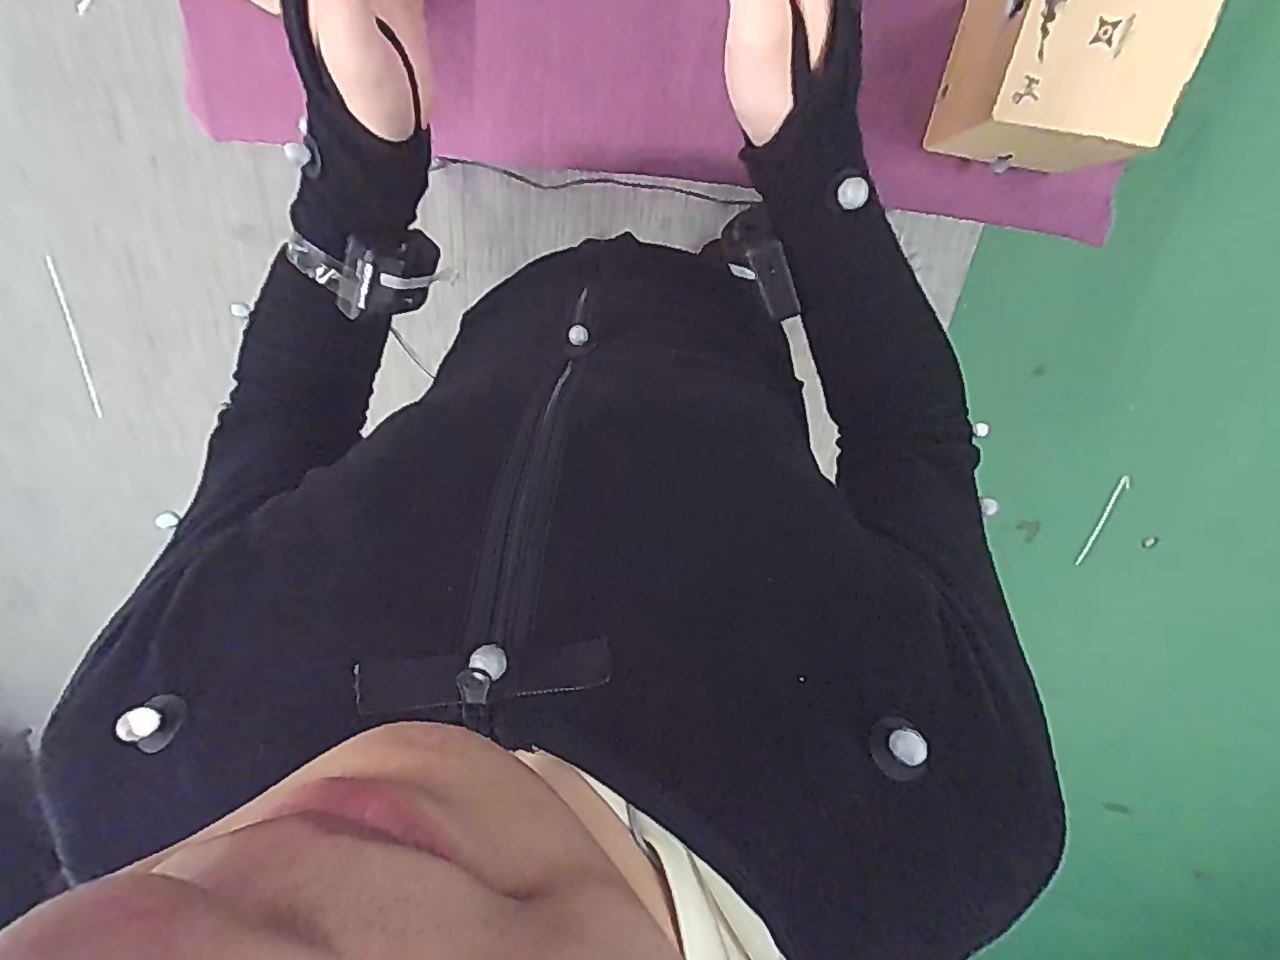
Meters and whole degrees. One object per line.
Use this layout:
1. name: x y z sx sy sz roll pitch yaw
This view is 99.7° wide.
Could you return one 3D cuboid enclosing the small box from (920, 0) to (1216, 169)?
1. small box: 0.451 -0.455 0.594 0.179 0.176 0.168 10 112 -1
